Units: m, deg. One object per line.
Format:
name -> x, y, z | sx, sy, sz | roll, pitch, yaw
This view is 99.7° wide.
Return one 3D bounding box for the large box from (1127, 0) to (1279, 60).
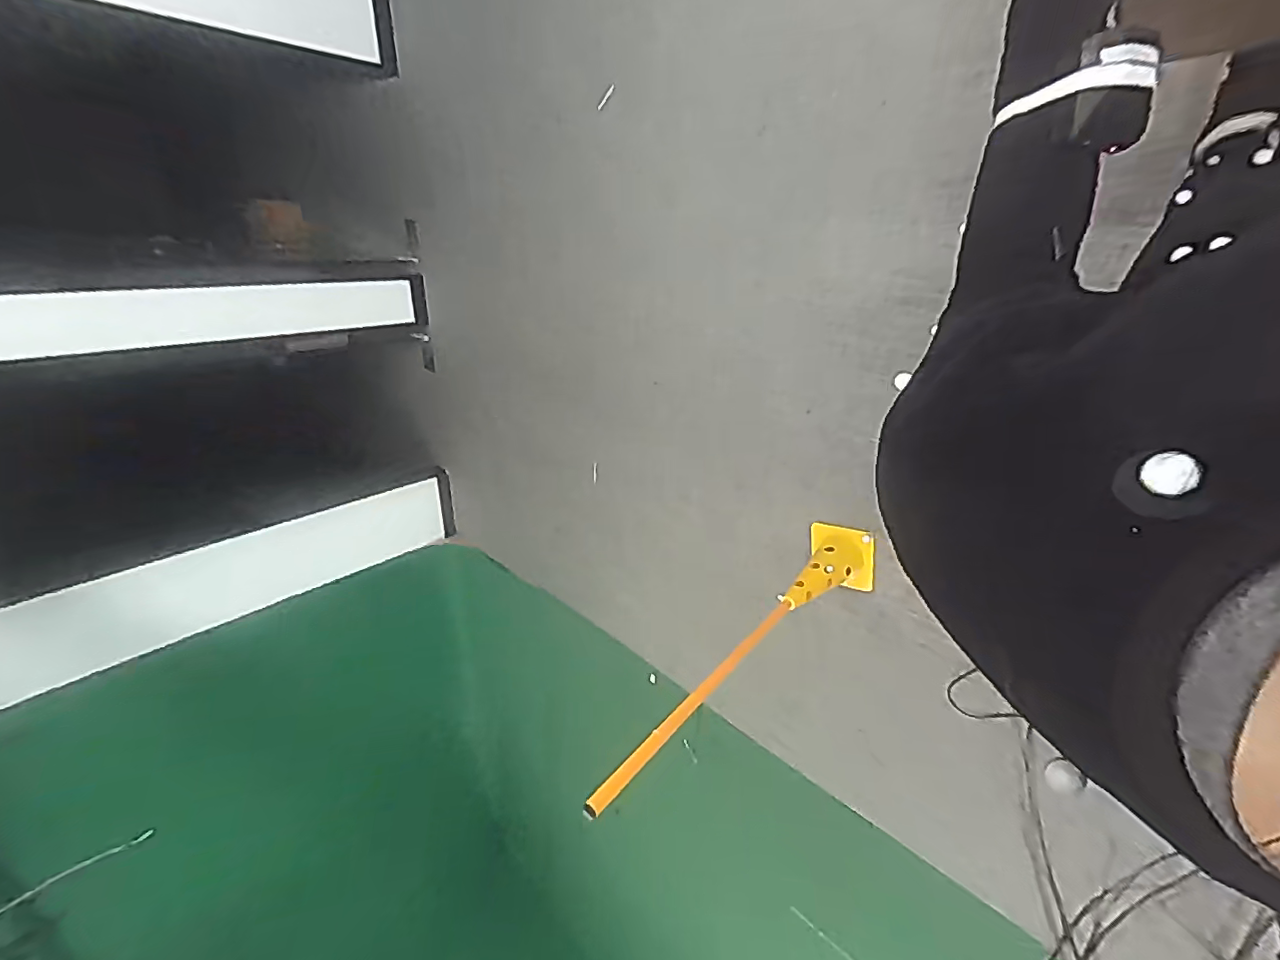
large box -> 0.569, -0.478, 0.288 | 0.408, 0.320, 0.320 | 17, 121, 36
